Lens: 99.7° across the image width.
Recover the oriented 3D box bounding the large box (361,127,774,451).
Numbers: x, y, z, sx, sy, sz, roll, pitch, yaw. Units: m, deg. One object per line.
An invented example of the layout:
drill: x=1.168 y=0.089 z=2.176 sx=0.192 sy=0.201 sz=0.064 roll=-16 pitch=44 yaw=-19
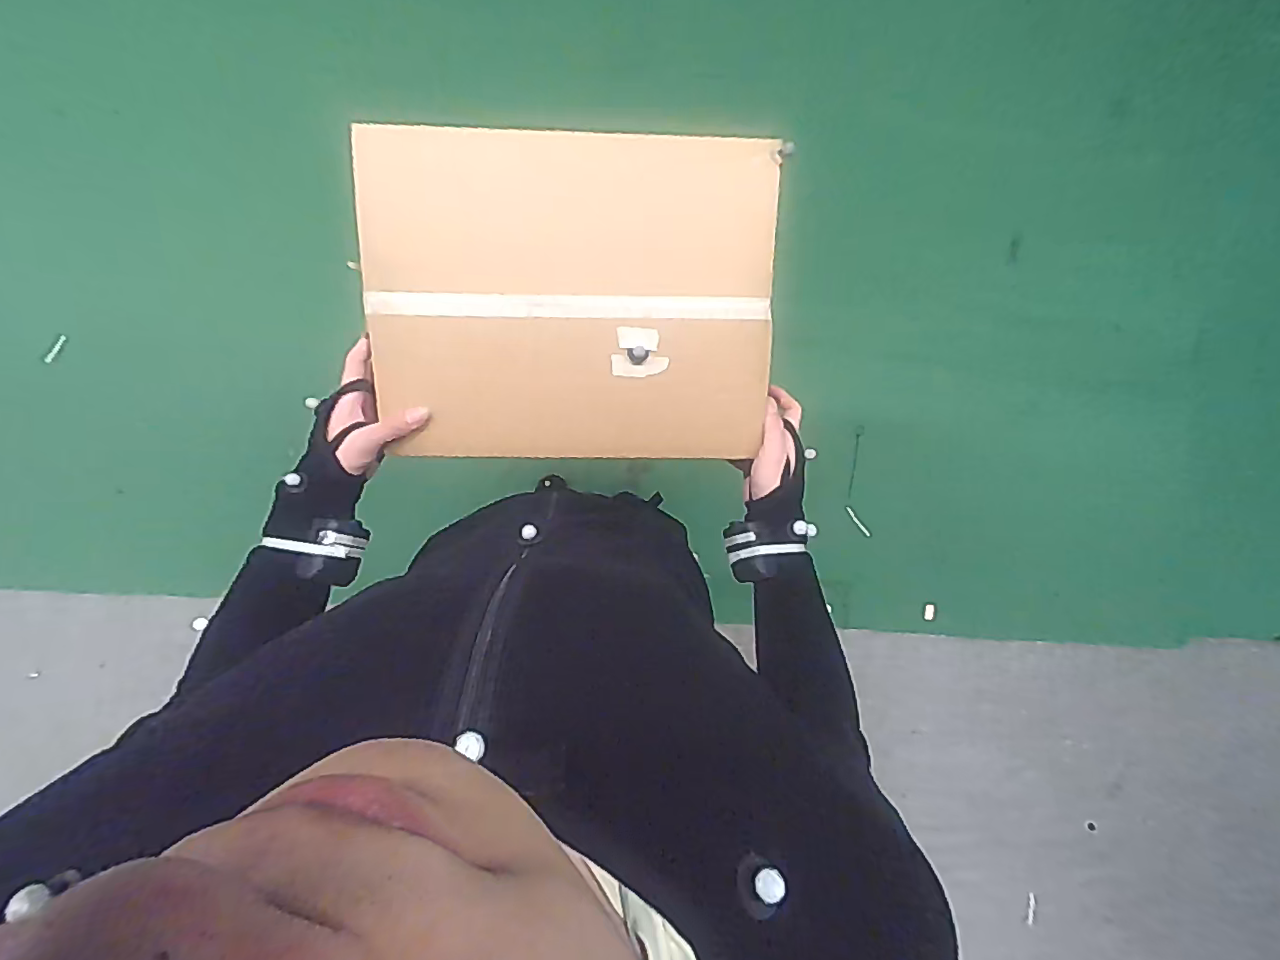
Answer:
large box: x=-0.077 y=-0.216 z=0.696 sx=0.408 sy=0.320 sz=0.320 roll=0 pitch=104 yaw=-4
